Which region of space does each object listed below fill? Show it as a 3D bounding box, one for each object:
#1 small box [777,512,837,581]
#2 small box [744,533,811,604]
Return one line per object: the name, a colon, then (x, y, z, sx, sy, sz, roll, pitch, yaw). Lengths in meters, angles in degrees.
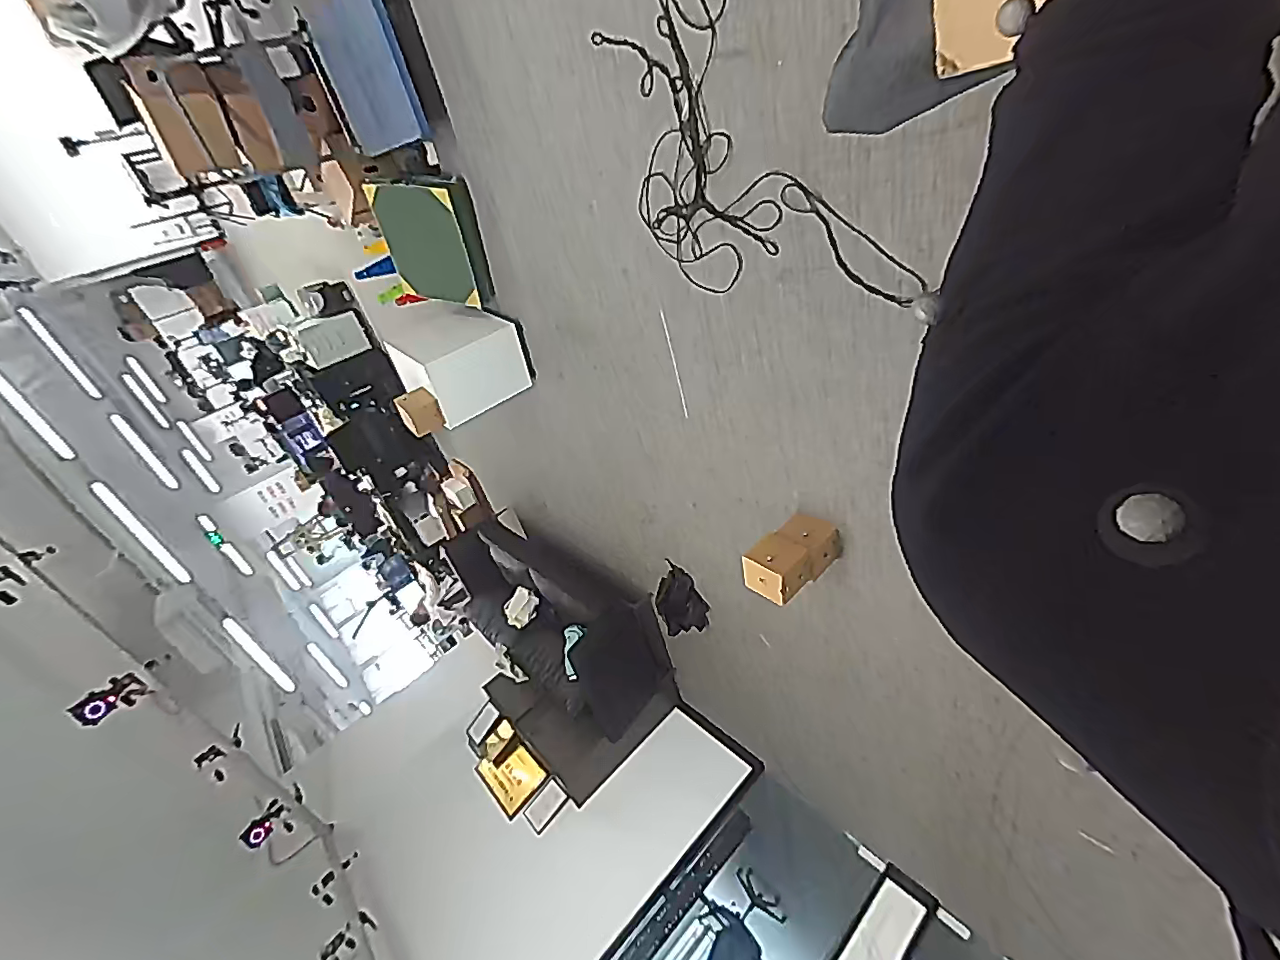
small box: (0.640, 0.249, 2.080, 0.179, 0.176, 0.168, 25, 140, 42)
small box: (0.511, 0.320, 2.007, 0.179, 0.176, 0.168, 25, 140, 42)
